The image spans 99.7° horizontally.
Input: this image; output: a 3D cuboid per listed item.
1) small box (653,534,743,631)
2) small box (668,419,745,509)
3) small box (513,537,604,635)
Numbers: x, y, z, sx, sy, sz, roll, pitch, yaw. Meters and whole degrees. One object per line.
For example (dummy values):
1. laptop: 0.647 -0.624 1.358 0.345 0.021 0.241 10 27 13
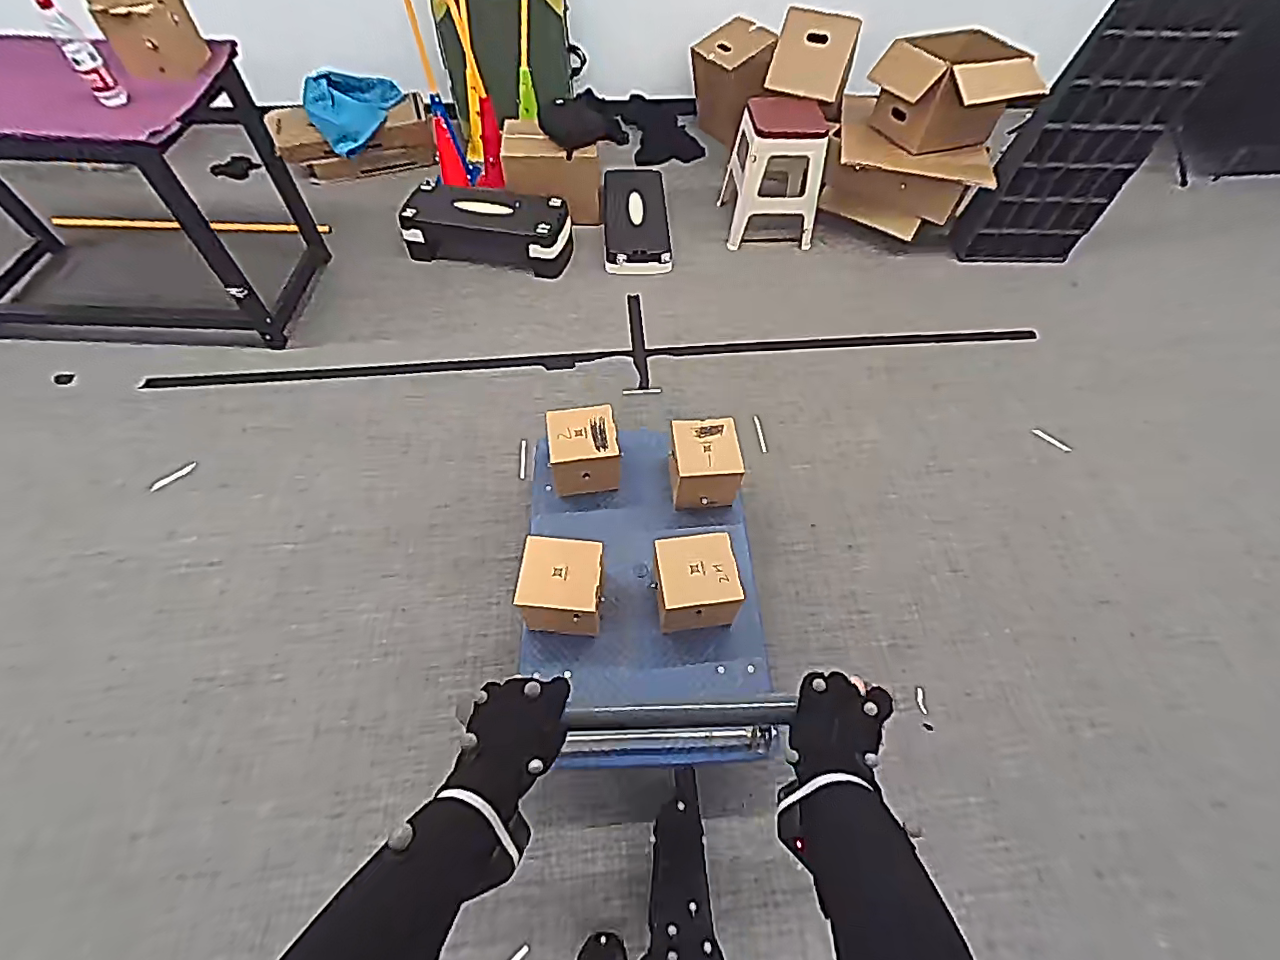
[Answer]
1. small box: 0.125 0.243 1.256 0.179 0.176 0.168 -5 58 -5
2. small box: 0.169 -0.041 1.437 0.168 0.176 0.179 -3 59 -4
3. small box: -0.179 0.247 1.243 0.179 0.176 0.168 6 57 0
